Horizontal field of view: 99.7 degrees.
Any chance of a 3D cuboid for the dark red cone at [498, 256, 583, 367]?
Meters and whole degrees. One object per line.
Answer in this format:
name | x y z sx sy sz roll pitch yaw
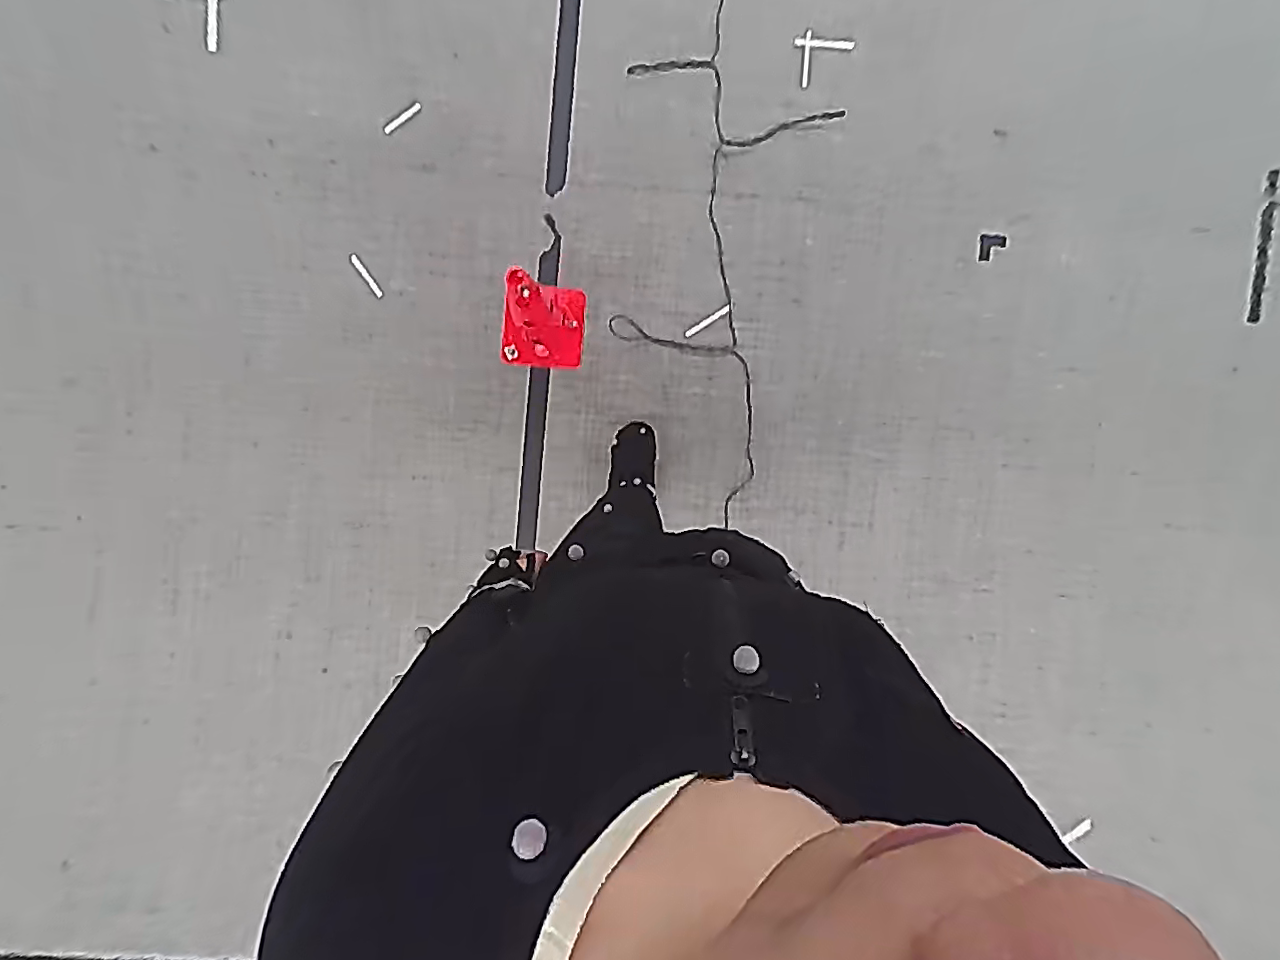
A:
dark red cone | -0.233 -0.379 1.155 0.201 0.394 0.202 4 91 -3
